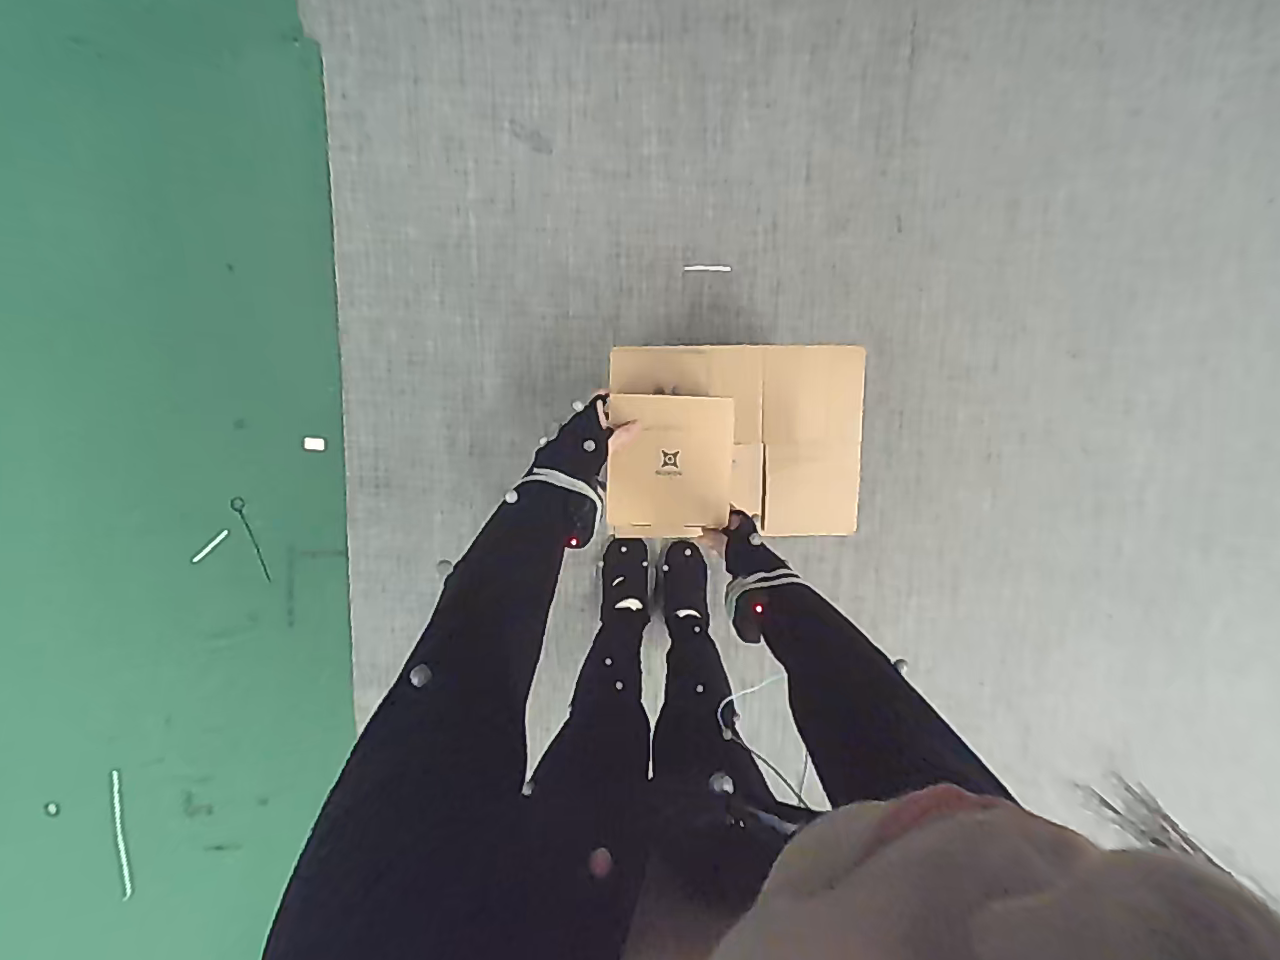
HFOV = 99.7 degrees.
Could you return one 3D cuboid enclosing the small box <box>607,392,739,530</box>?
[{"bbox_3d":[0.040,-0.035,0.778,0.168,0.176,0.179,2,98,-2],"label":"small box"}]
